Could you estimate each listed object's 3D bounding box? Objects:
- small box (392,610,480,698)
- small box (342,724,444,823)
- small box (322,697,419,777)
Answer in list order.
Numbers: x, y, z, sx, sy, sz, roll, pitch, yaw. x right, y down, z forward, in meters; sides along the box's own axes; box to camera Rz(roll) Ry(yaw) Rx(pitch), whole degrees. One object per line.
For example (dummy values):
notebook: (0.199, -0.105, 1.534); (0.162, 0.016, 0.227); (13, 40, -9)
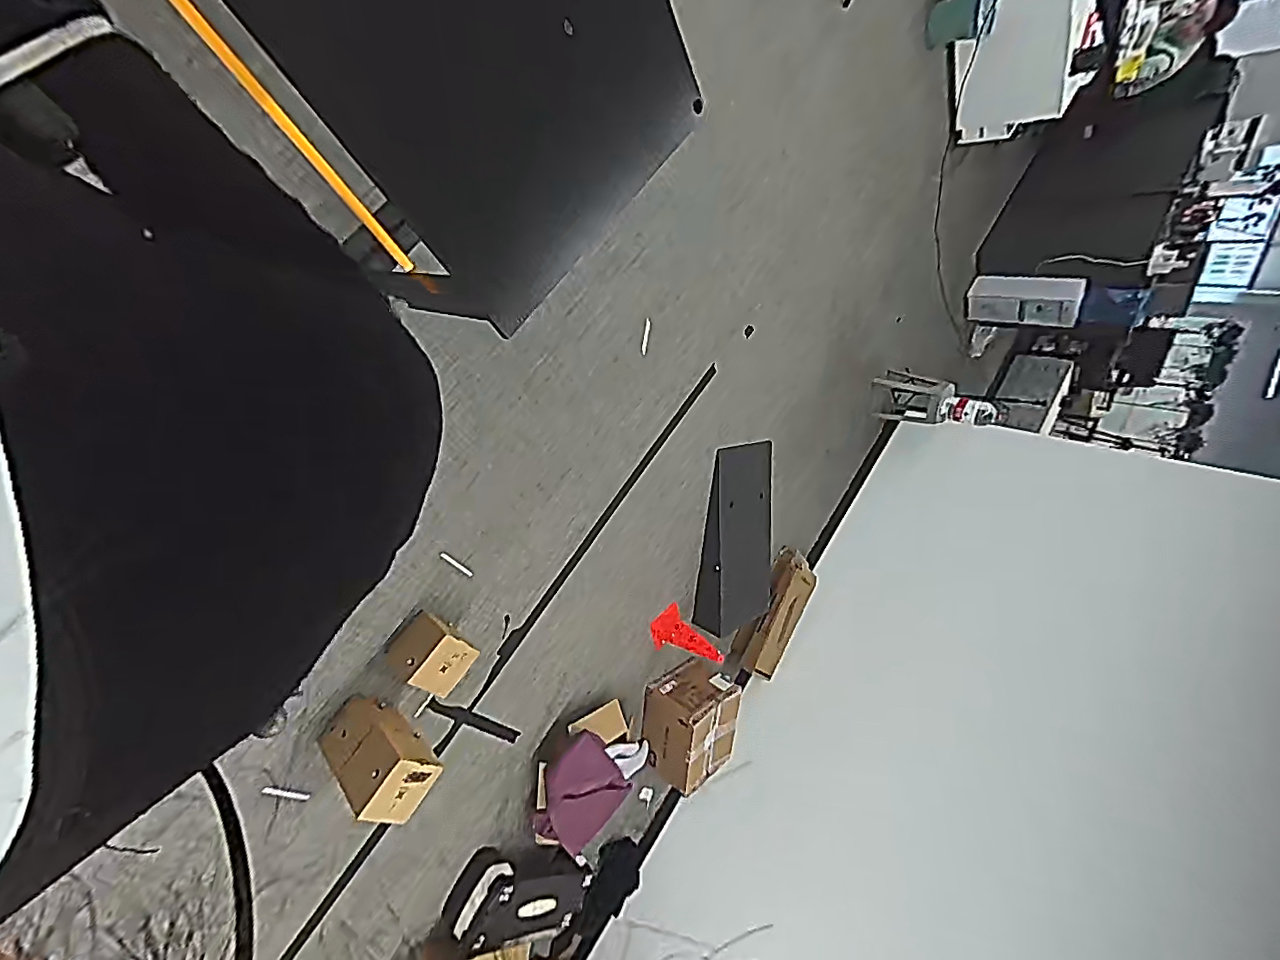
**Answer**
small box: (-0.651, 0.545, 1.704); (0.179, 0.176, 0.168); (-53, 138, -17)
small box: (-0.699, 0.823, 1.523); (0.179, 0.176, 0.168); (-55, 138, -13)
small box: (-0.818, 0.782, 1.632); (0.168, 0.176, 0.179); (-56, 137, -14)
